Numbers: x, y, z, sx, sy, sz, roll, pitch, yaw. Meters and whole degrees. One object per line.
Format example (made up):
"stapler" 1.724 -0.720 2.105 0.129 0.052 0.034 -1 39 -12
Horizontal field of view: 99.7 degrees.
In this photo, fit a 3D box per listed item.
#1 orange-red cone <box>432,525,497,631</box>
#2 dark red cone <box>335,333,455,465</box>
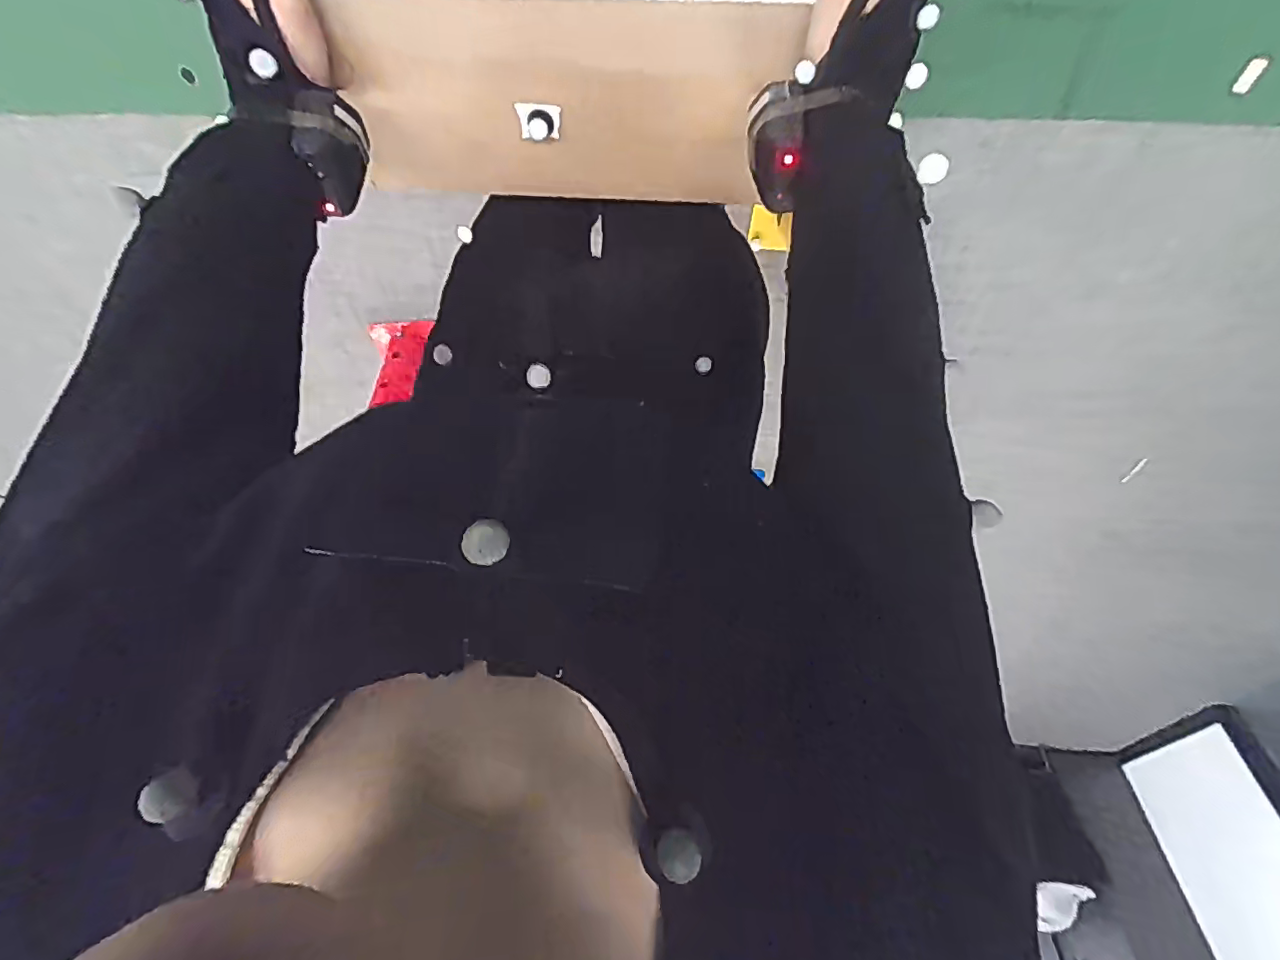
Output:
"orange-red cone" -0.667 0.370 1.932 0.199 0.360 0.198 18 135 -10
"dark red cone" -0.619 -0.180 1.304 0.202 0.394 0.201 -2 134 9
